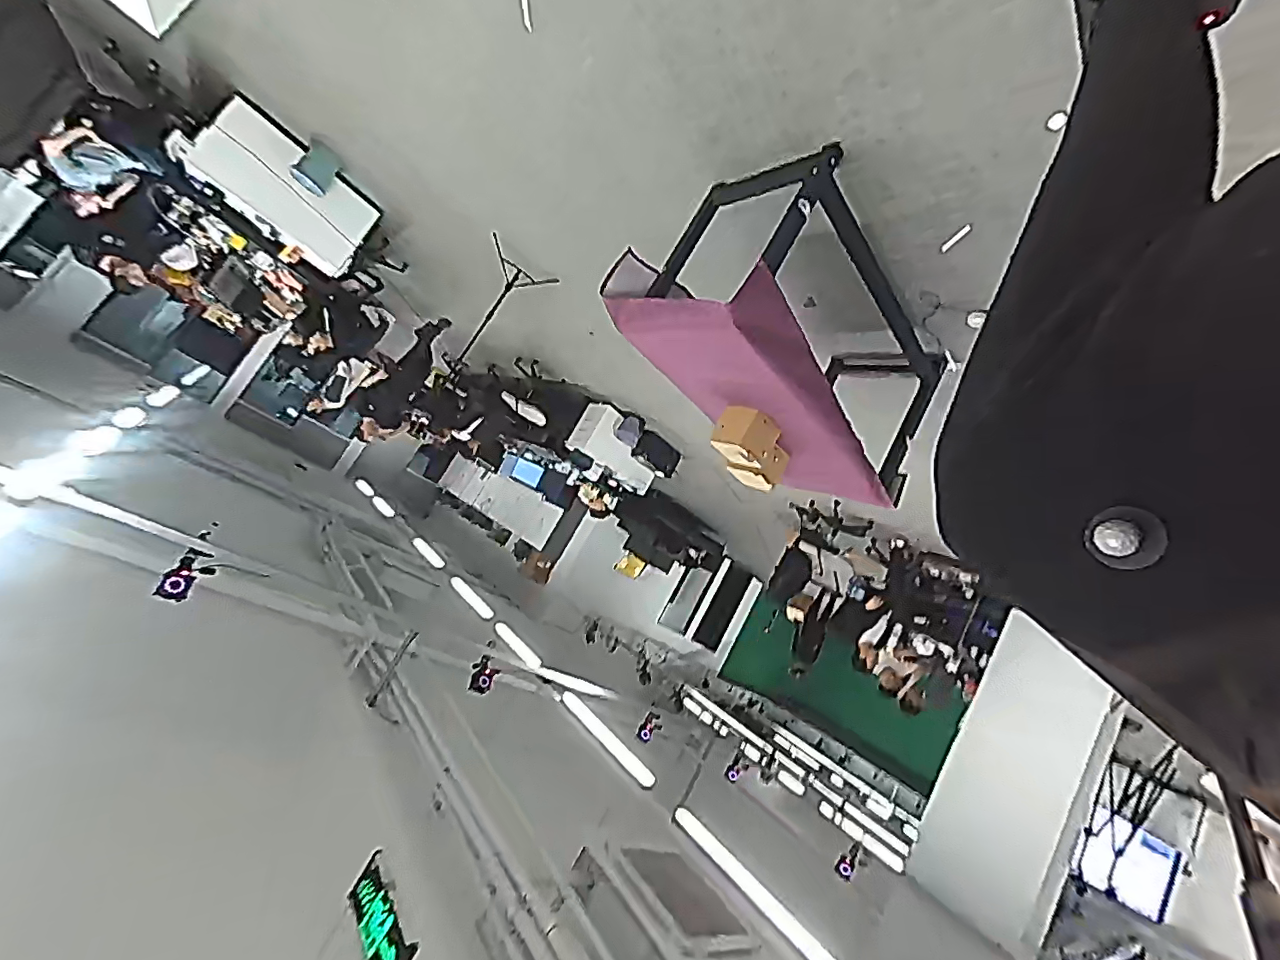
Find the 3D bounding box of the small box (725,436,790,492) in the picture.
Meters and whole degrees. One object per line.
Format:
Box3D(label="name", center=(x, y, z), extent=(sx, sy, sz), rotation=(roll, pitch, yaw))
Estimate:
Box3D(label="small box", center=(0.507, -0.074, 2.321), extent=(0.168, 0.176, 0.179), rotation=(36, 168, -35))
